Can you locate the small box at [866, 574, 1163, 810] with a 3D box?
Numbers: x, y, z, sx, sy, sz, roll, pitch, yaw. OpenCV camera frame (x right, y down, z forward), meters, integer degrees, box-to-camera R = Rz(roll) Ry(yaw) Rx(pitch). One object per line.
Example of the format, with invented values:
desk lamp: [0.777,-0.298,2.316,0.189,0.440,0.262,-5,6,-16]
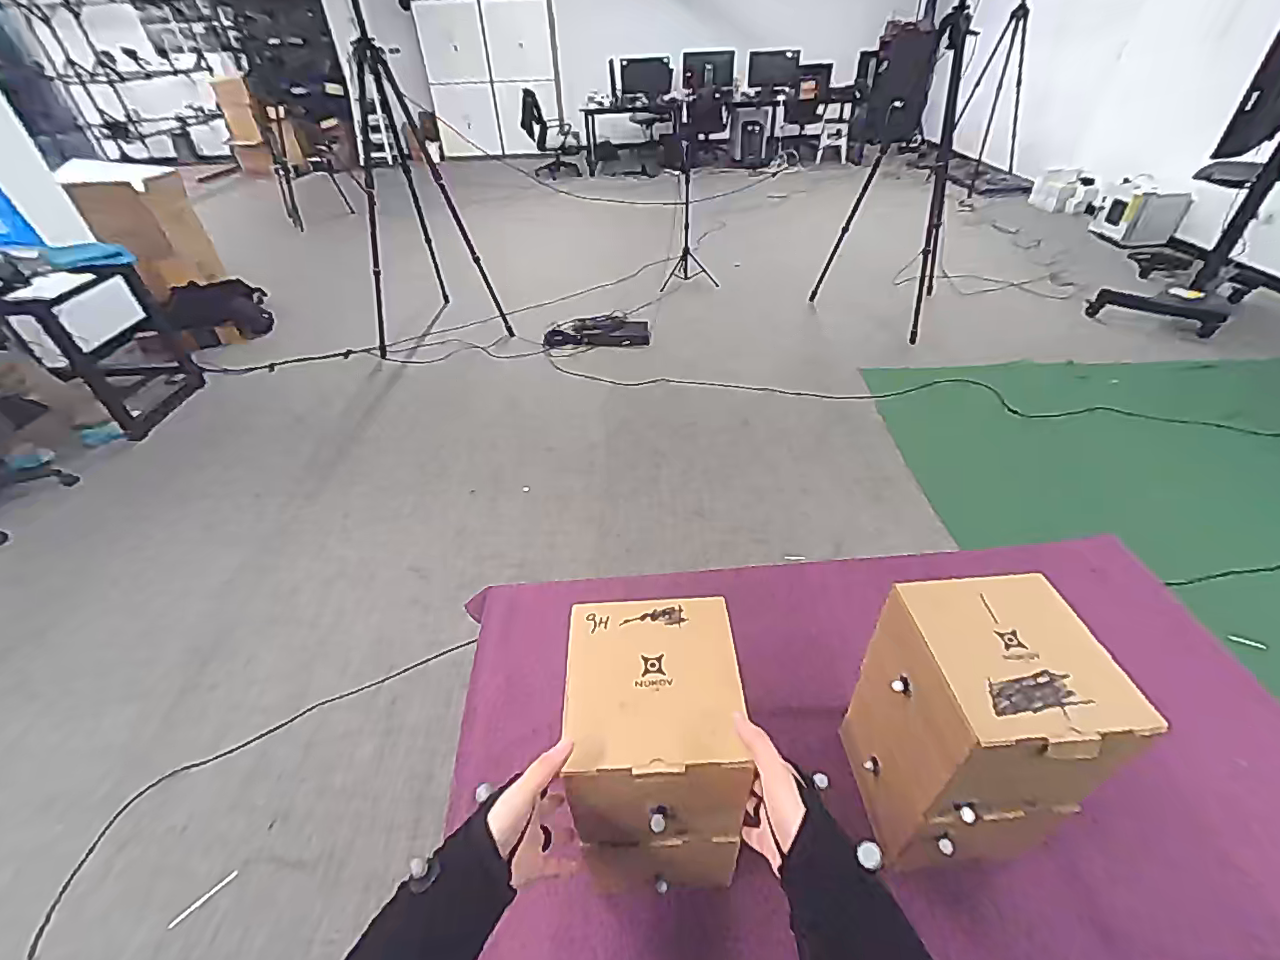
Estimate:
small box: [0.362,0.225,0.569,0.168,0.176,0.179,-4,38,-1]

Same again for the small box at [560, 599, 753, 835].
small box: [0.016,0.248,0.562,0.168,0.176,0.179,-3,40,0]

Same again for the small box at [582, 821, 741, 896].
small box: [0.022,0.378,0.663,0.168,0.176,0.179,-3,39,0]
